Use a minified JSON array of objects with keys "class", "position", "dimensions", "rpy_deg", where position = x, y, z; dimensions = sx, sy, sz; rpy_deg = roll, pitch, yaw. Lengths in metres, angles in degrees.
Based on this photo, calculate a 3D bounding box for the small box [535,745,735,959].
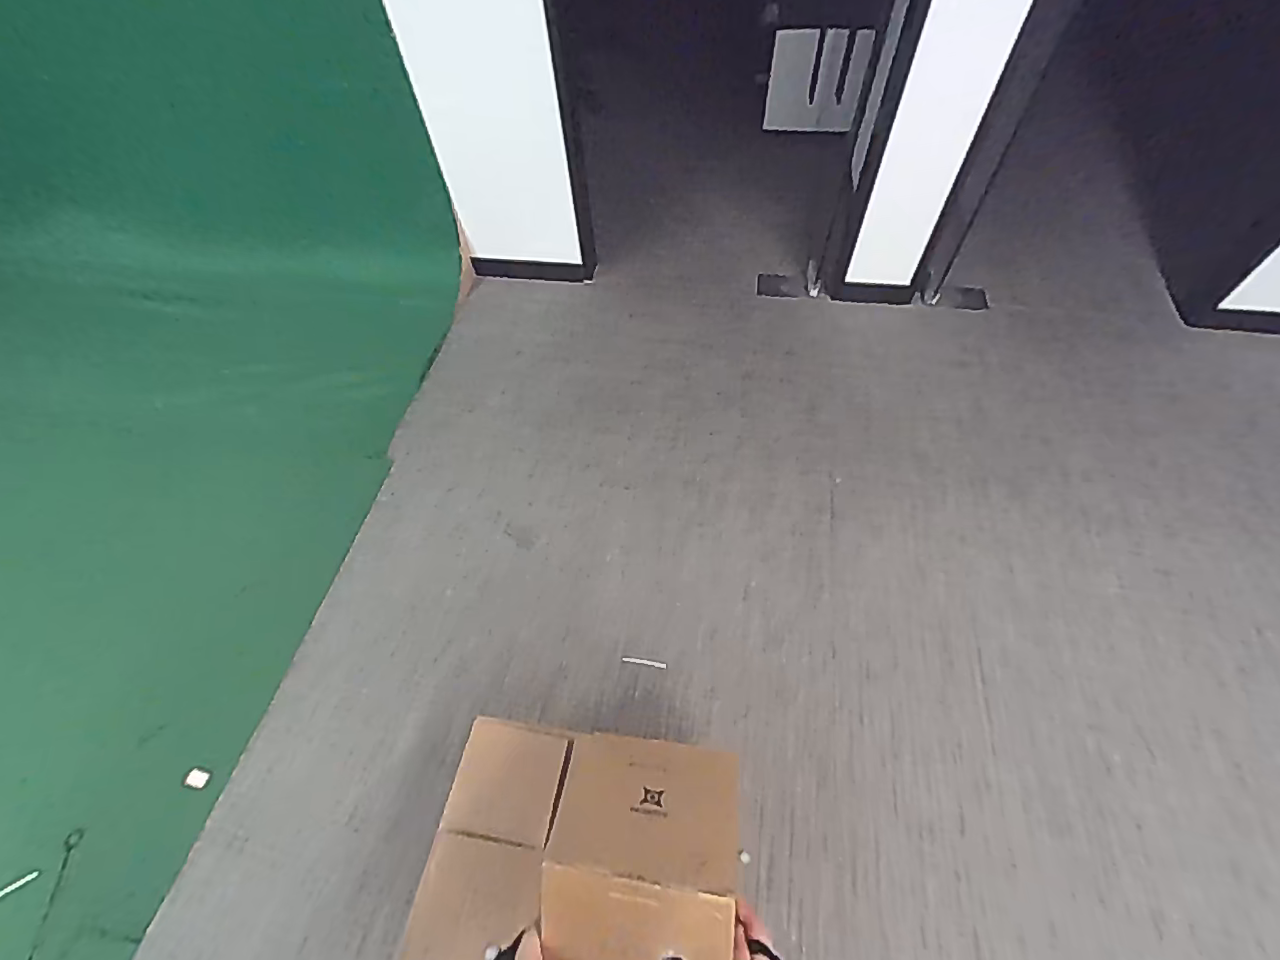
[{"class":"small box","position":[0.007,0.400,0.532],"dimensions":[0.168,0.179,0.176],"rpy_deg":[3,99,10]}]
